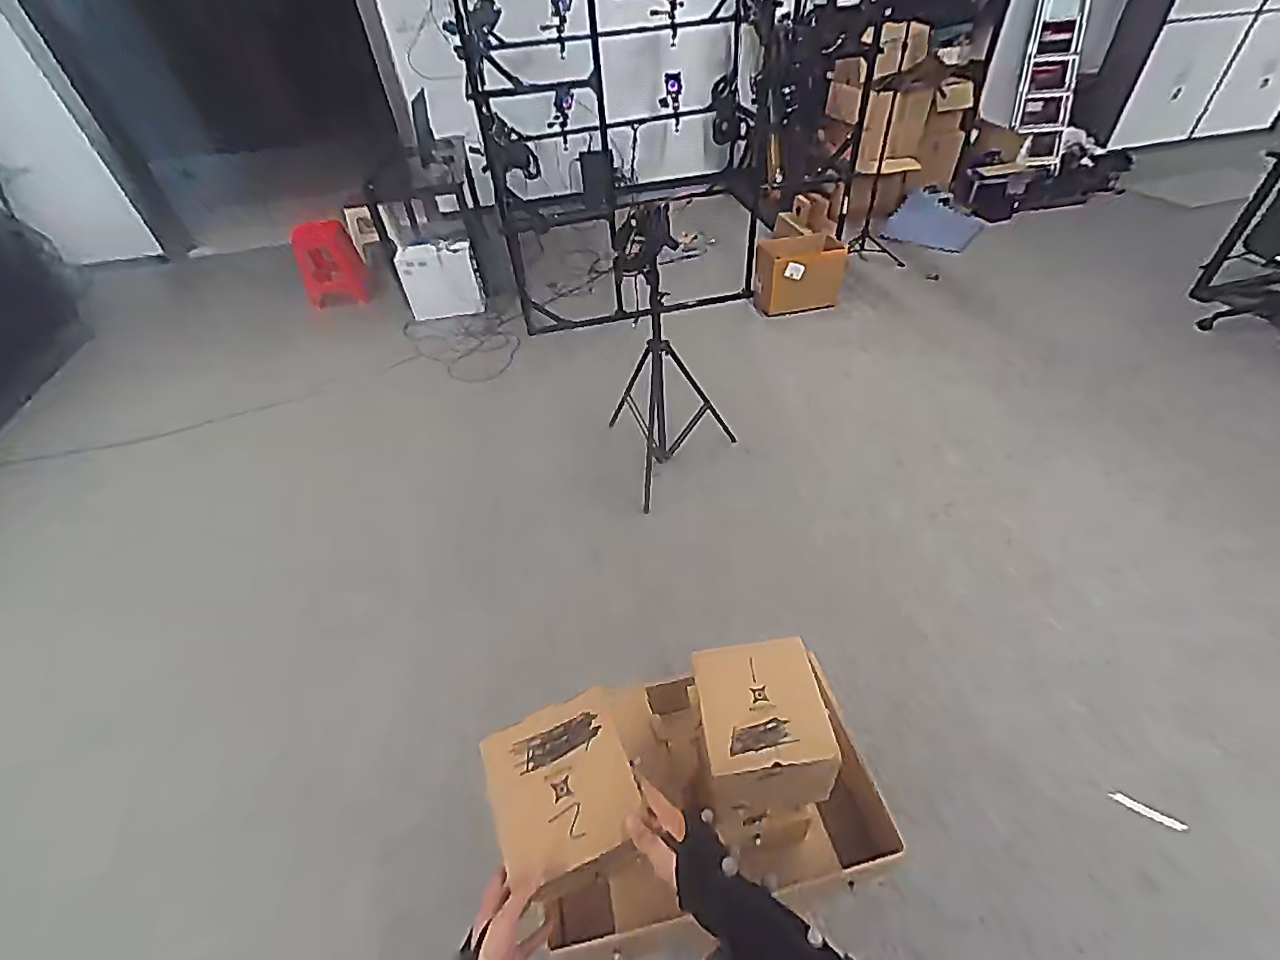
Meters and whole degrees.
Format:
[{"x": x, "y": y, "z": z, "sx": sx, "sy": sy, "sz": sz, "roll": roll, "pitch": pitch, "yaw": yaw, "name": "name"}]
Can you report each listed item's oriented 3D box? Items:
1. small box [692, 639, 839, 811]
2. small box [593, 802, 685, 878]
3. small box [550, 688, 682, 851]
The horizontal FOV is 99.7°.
[{"x": 0.174, "y": 0.361, "z": 0.787, "sx": 0.168, "sy": 0.176, "sz": 0.179, "roll": -9, "pitch": 43, "yaw": 1, "name": "small box"}, {"x": -0.022, "y": 0.611, "z": 1.026, "sx": 0.168, "sy": 0.176, "sz": 0.179, "roll": -17, "pitch": 45, "yaw": -12, "name": "small box"}, {"x": -0.039, "y": 0.490, "z": 0.917, "sx": 0.179, "sy": 0.176, "sz": 0.168, "roll": -18, "pitch": 45, "yaw": -12, "name": "small box"}]
